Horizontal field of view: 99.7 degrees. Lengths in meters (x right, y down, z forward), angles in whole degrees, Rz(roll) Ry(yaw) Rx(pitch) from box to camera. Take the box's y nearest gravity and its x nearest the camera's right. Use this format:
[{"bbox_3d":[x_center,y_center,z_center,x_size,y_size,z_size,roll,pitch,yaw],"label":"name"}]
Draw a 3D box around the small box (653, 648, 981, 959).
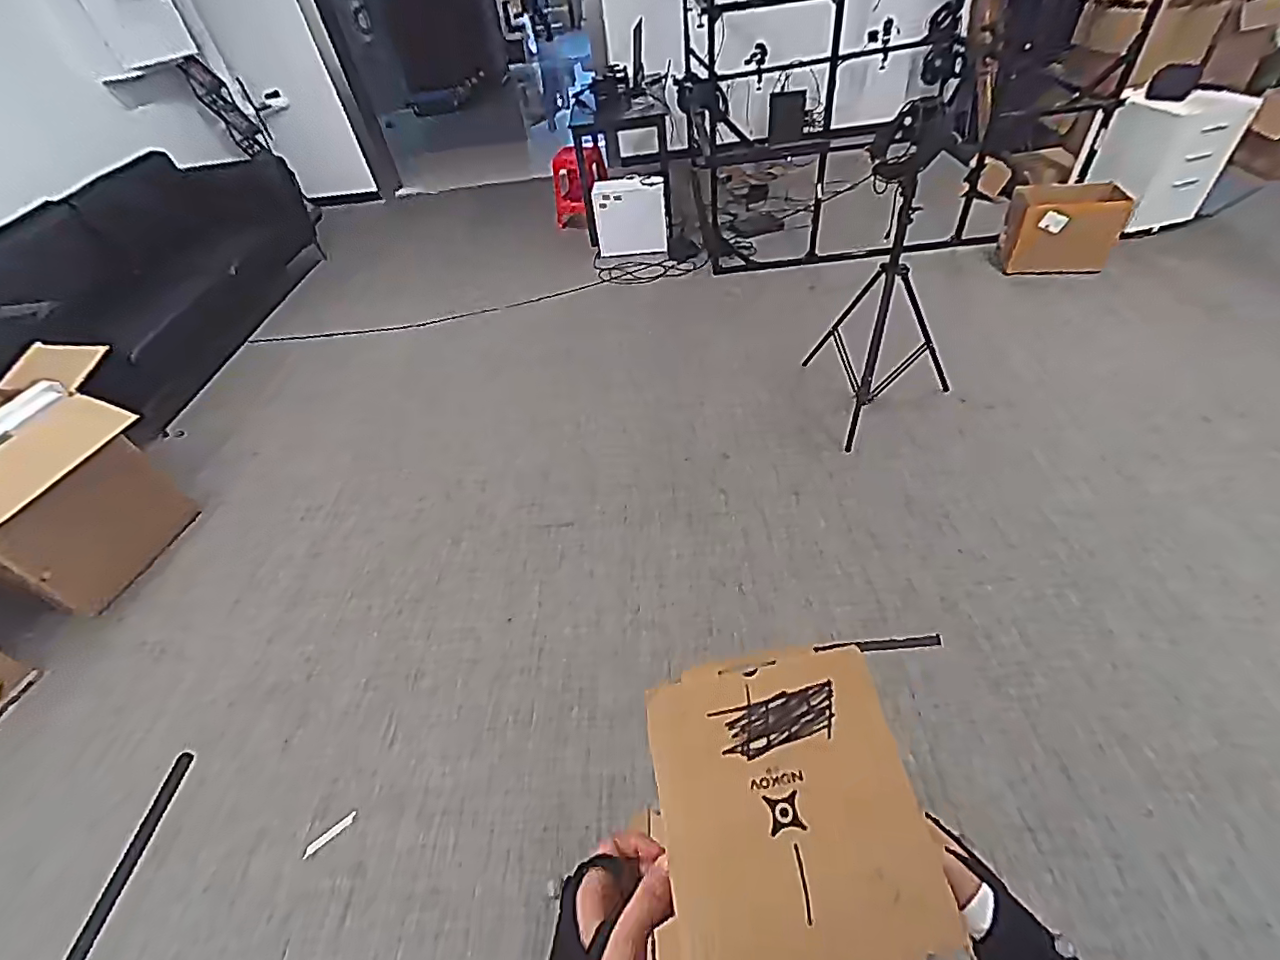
[{"bbox_3d":[0.111,0.253,0.414,0.168,0.176,0.179,-12,54,4],"label":"small box"}]
